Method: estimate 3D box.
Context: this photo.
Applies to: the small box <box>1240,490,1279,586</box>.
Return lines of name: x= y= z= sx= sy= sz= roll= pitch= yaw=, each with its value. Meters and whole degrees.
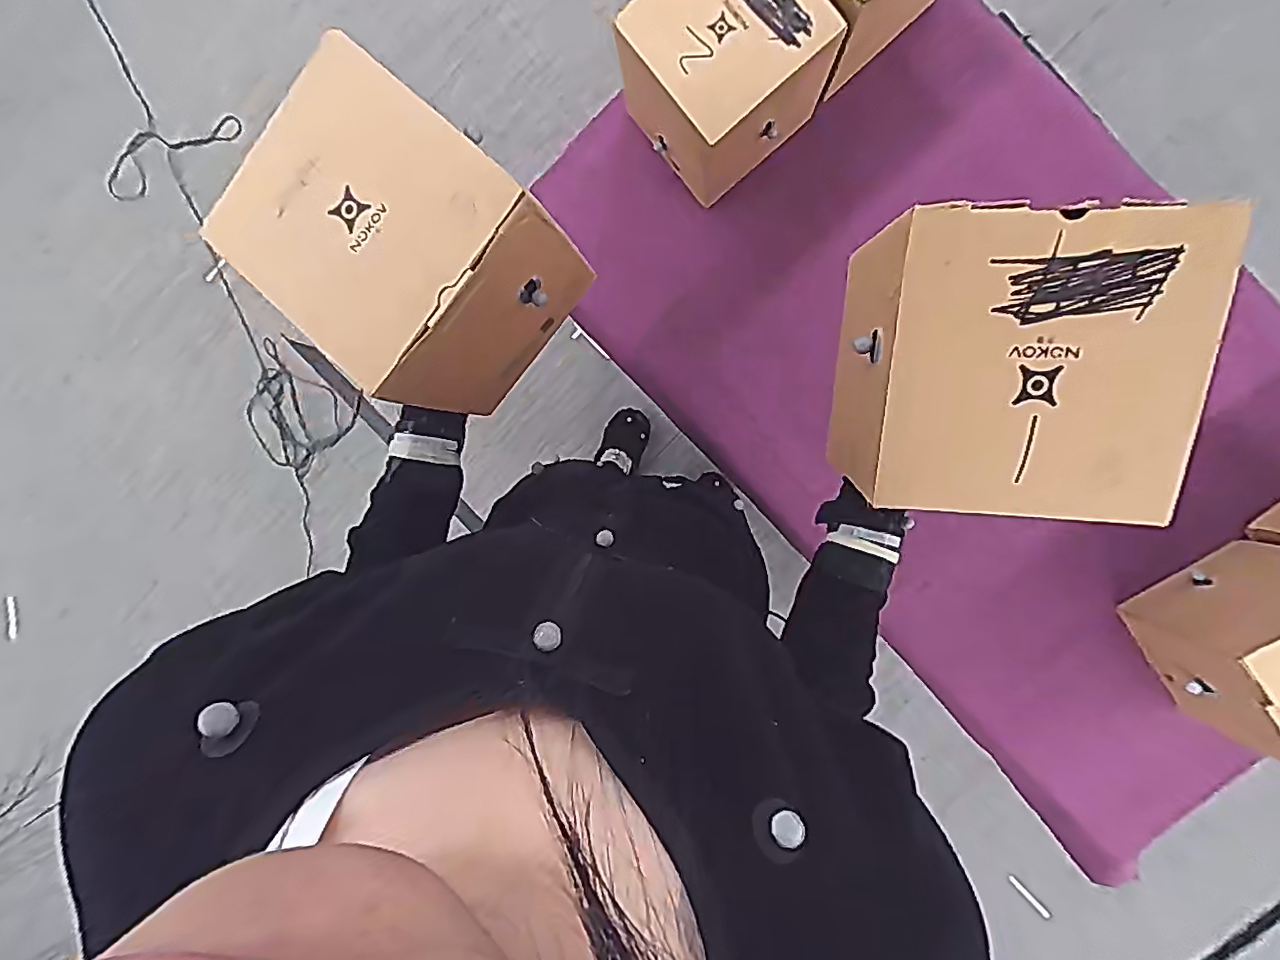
small box: x=0.877 y=0.070 z=0.613 sx=0.179 sy=0.176 sz=0.168 roll=-40 pitch=92 yaw=6

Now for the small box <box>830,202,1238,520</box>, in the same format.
small box: x=0.242 y=-0.084 z=0.389 sx=0.168 sy=0.176 sz=0.179 roll=4 pitch=105 yaw=9

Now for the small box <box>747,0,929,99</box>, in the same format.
small box: x=0.239 y=-0.590 z=0.601 sx=0.179 sy=0.176 sz=0.168 roll=-40 pitch=91 yaw=7

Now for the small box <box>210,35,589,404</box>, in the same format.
small box: x=-0.166 y=-0.175 z=0.429 sx=0.179 sy=0.176 sz=0.168 roll=42 pitch=98 yaw=6
